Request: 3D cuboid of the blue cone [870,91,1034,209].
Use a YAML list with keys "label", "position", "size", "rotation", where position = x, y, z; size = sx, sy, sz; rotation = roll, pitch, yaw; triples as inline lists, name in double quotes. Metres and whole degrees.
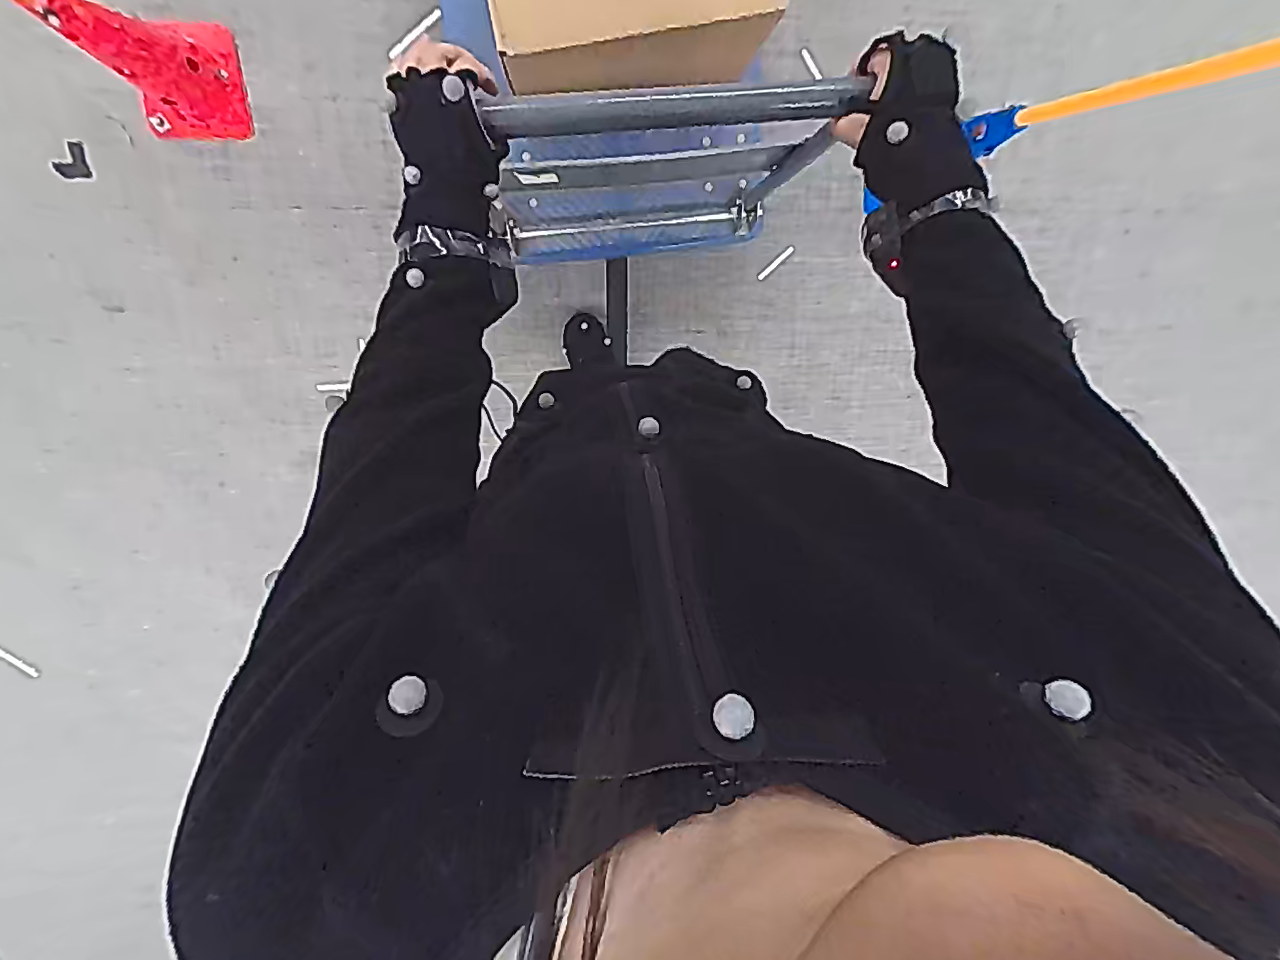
- label: "blue cone"
  position: [0.647, -0.697, 1.113]
  size: [0.193, 0.380, 0.192]
  rotation: [-6, 108, -5]
